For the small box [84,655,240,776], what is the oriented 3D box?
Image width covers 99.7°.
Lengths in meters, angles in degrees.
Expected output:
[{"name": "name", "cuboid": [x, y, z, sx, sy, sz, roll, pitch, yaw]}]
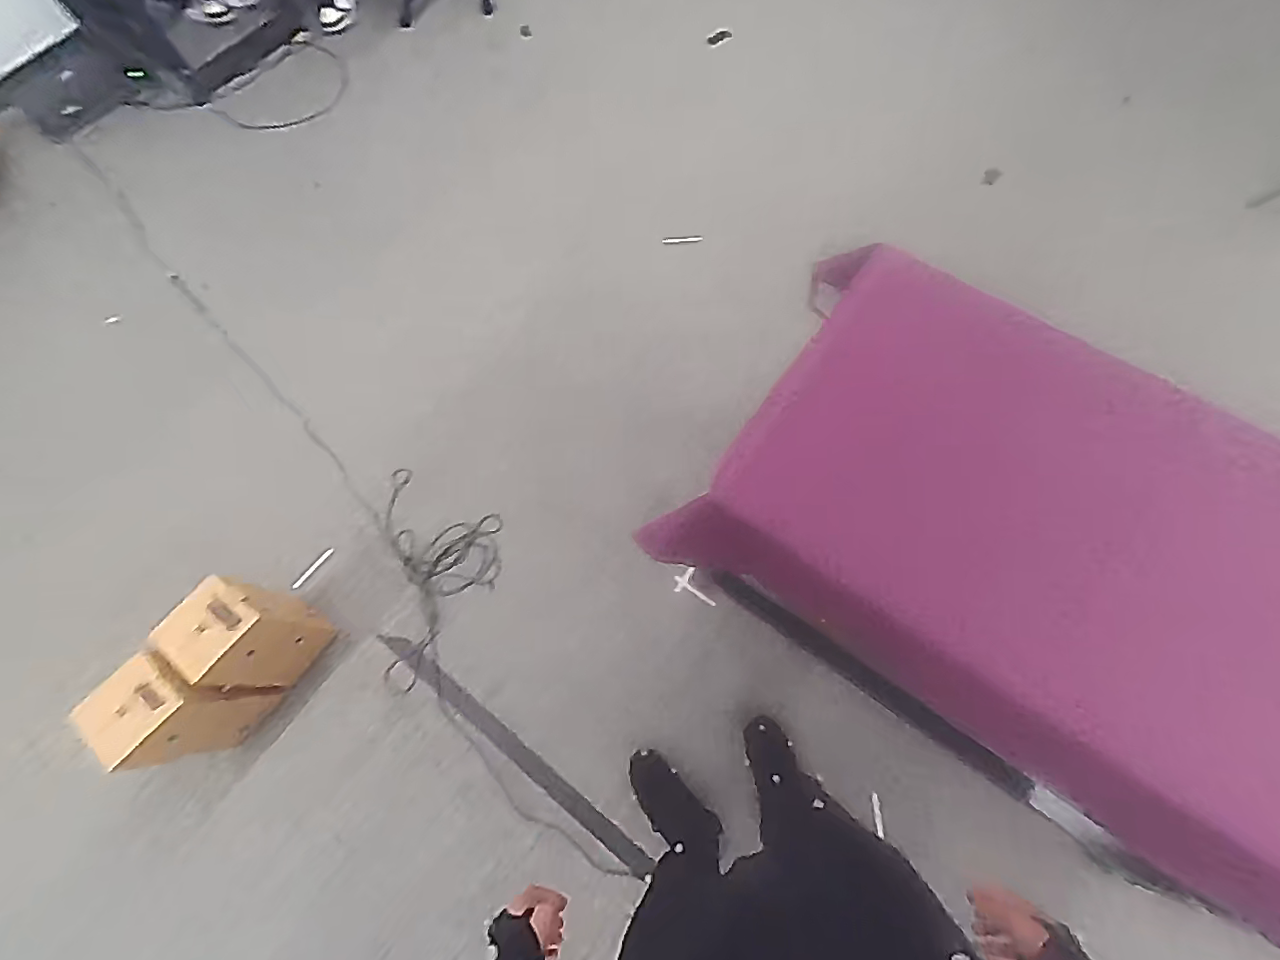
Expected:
[{"name": "small box", "cuboid": [-1.040, 0.512, 1.199, 0.168, 0.176, 0.179, 39, 78, 15]}]
